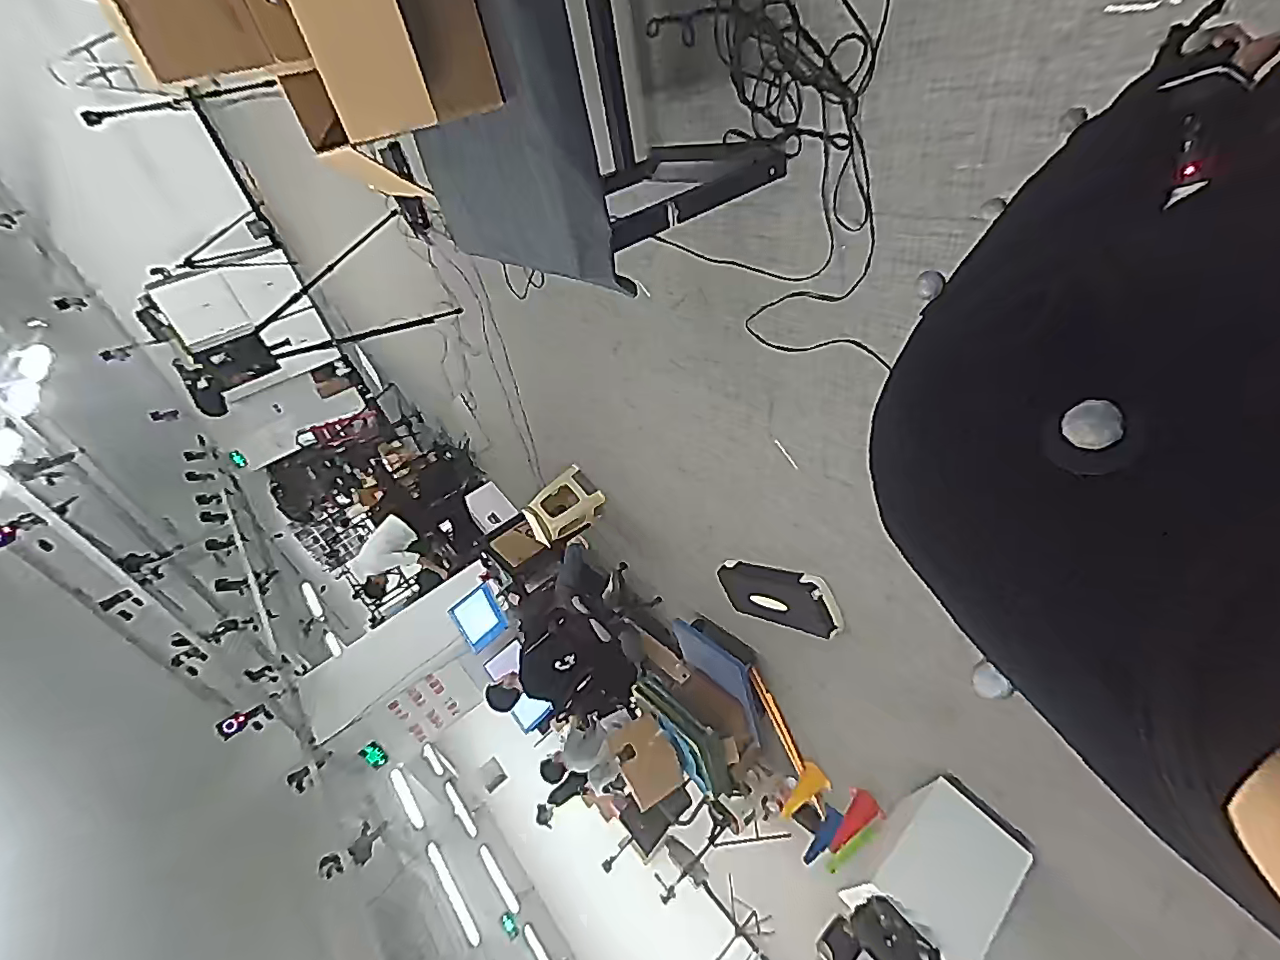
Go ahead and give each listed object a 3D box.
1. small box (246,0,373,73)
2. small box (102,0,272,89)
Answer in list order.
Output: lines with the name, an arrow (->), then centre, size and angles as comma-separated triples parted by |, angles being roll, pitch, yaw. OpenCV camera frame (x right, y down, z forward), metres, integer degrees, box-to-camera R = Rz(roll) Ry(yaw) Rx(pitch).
small box -> -0.584, -0.807, 0.900 | 0.168, 0.176, 0.179 | 30, 145, 42
small box -> -0.710, -0.727, 0.836 | 0.179, 0.176, 0.168 | 33, 146, 42
